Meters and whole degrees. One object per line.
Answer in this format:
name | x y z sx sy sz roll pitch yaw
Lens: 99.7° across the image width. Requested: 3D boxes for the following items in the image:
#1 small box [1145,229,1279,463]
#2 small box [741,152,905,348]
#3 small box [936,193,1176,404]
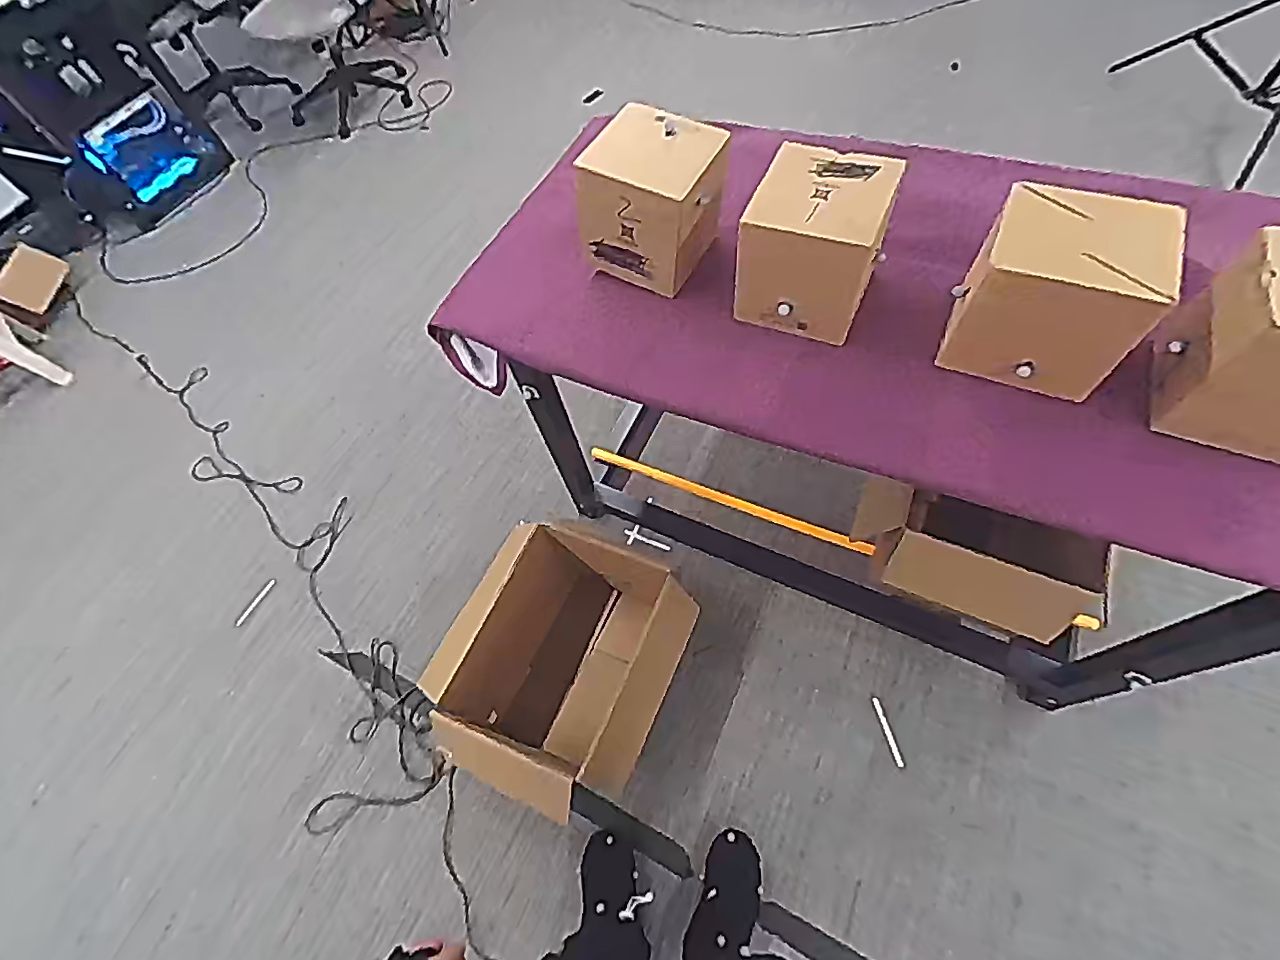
small box | 0.718 -0.137 0.592 0.179 0.176 0.168 21 63 18
small box | 0.247 -0.322 0.766 0.168 0.176 0.179 20 65 18
small box | 0.505 -0.230 0.674 0.179 0.176 0.168 21 64 19
